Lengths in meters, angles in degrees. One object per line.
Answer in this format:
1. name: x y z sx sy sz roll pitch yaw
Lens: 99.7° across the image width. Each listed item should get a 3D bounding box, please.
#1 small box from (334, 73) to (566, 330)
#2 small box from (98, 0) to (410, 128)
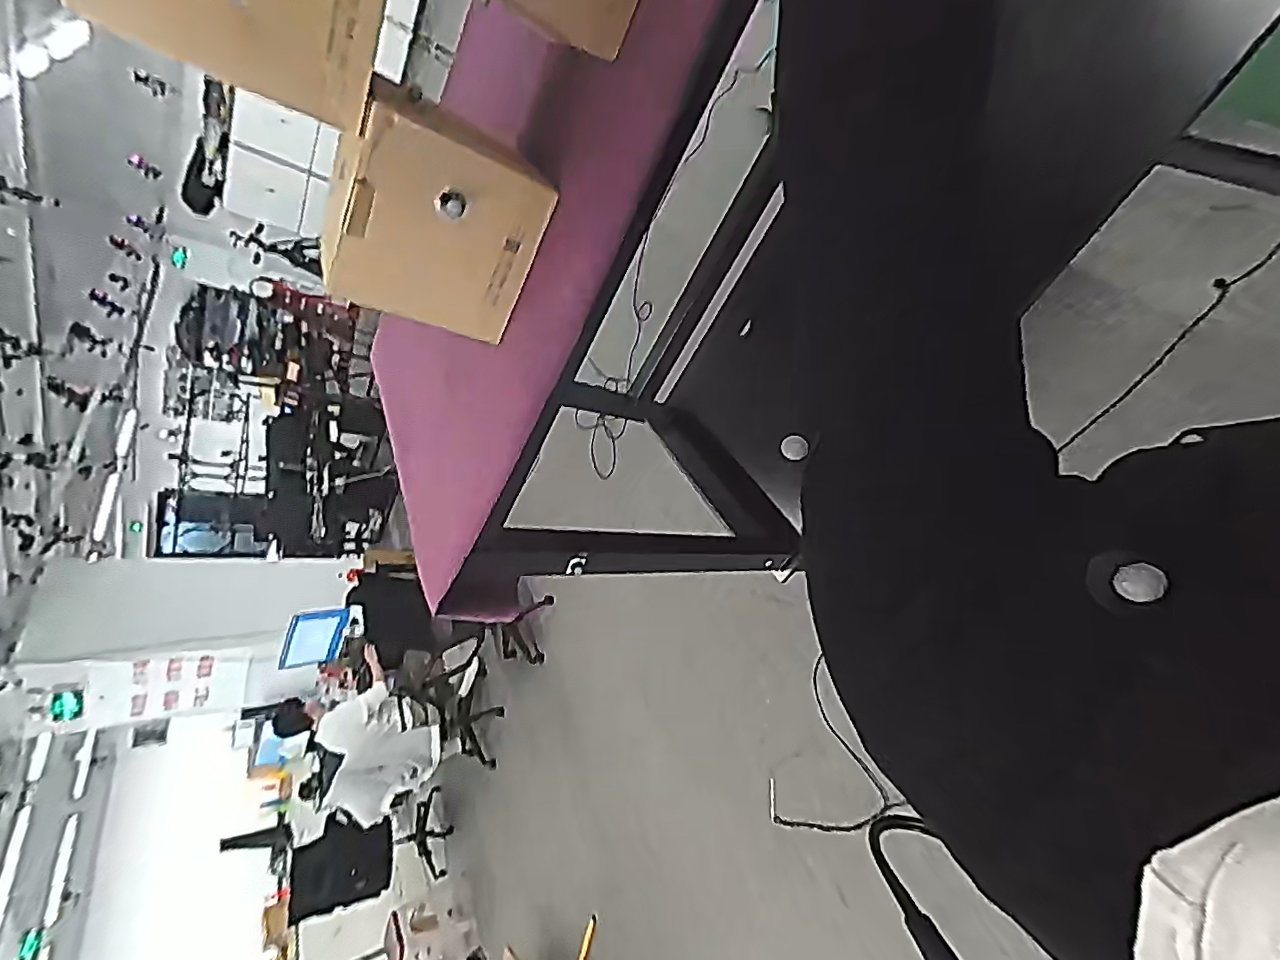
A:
1. small box: -0.196 -0.273 0.549 0.168 0.176 0.179 -57 44 28
2. small box: -0.270 -0.395 0.400 0.168 0.176 0.179 -60 43 28
